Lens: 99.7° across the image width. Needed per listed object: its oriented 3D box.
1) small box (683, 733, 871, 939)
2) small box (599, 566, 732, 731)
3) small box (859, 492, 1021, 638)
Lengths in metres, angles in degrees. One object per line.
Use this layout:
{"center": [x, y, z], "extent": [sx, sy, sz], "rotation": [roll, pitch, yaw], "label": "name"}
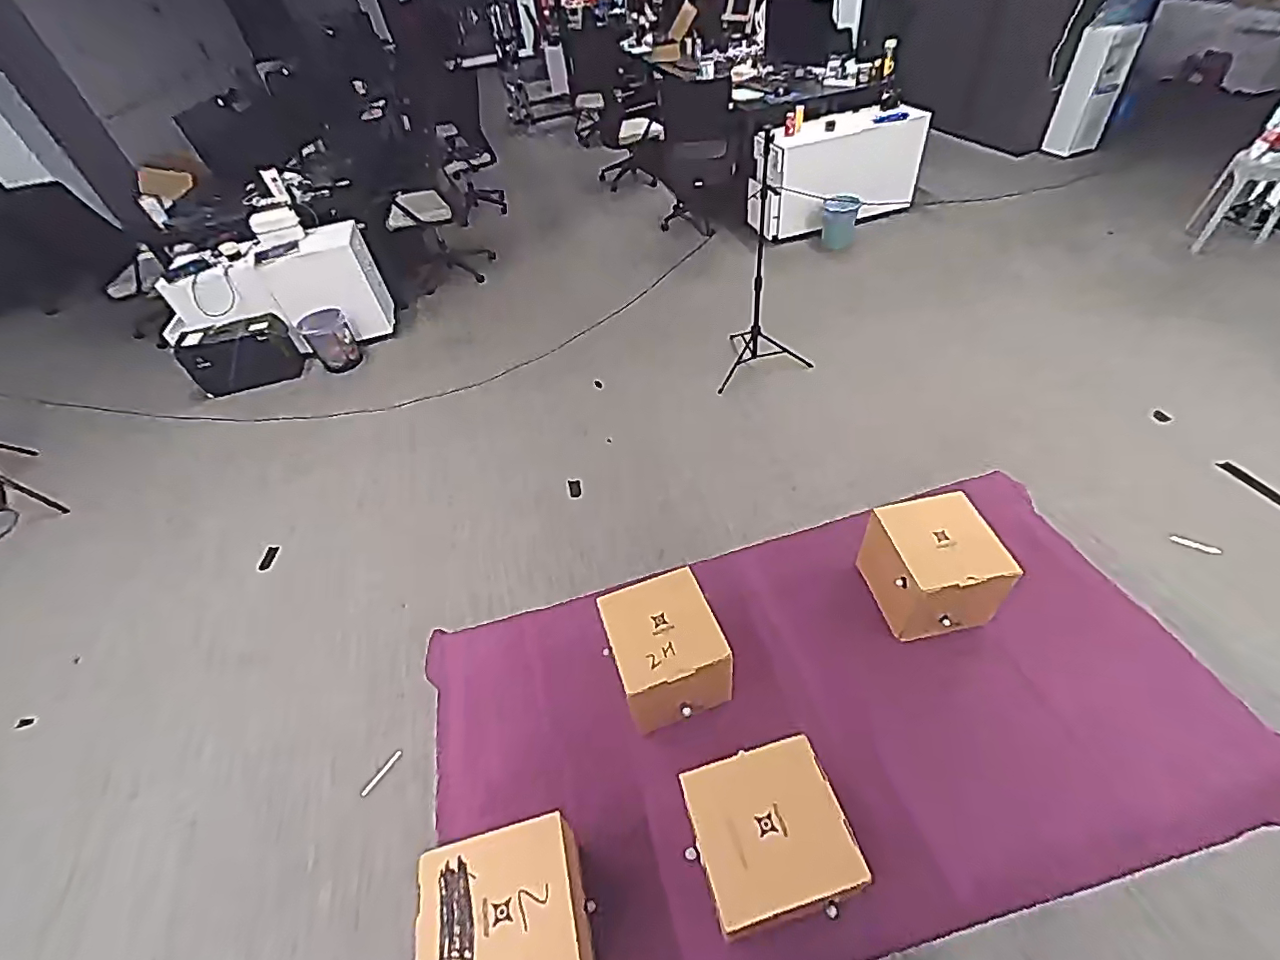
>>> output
{"center": [0.162, 0.459, 0.699], "extent": [0.179, 0.176, 0.168], "rotation": [-14, 45, -6], "label": "small box"}
{"center": [0.040, 0.279, 0.897], "extent": [0.168, 0.176, 0.179], "rotation": [-18, 46, -8], "label": "small box"}
{"center": [0.508, 0.150, 0.950], "extent": [0.168, 0.176, 0.179], "rotation": [-11, 47, -1], "label": "small box"}
